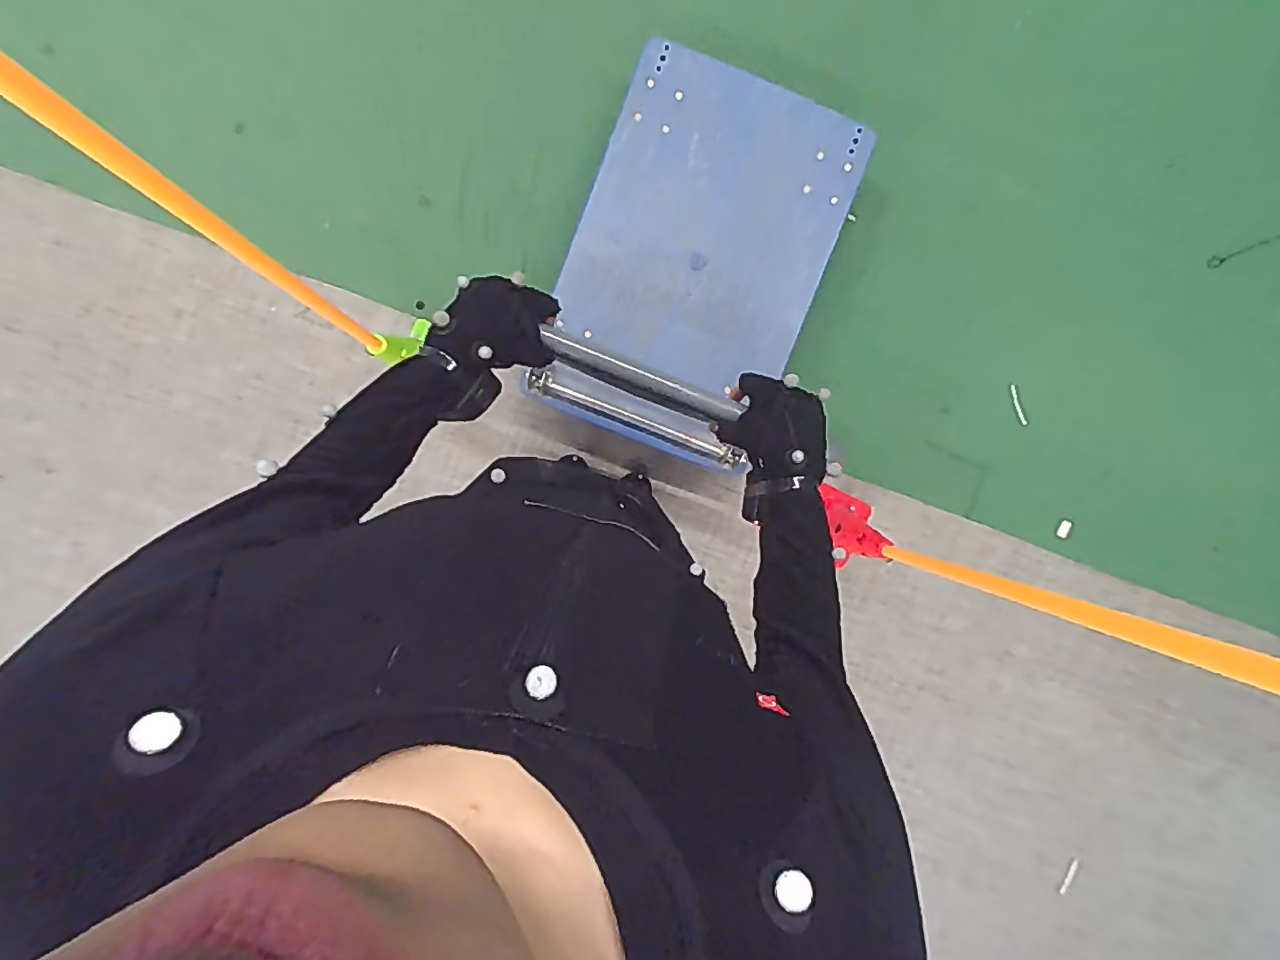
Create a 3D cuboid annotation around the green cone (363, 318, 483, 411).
[{"bbox_3d":[-0.537,-0.296,1.266,0.202,0.368,0.200,25,93,-2],"label":"green cone"}]
